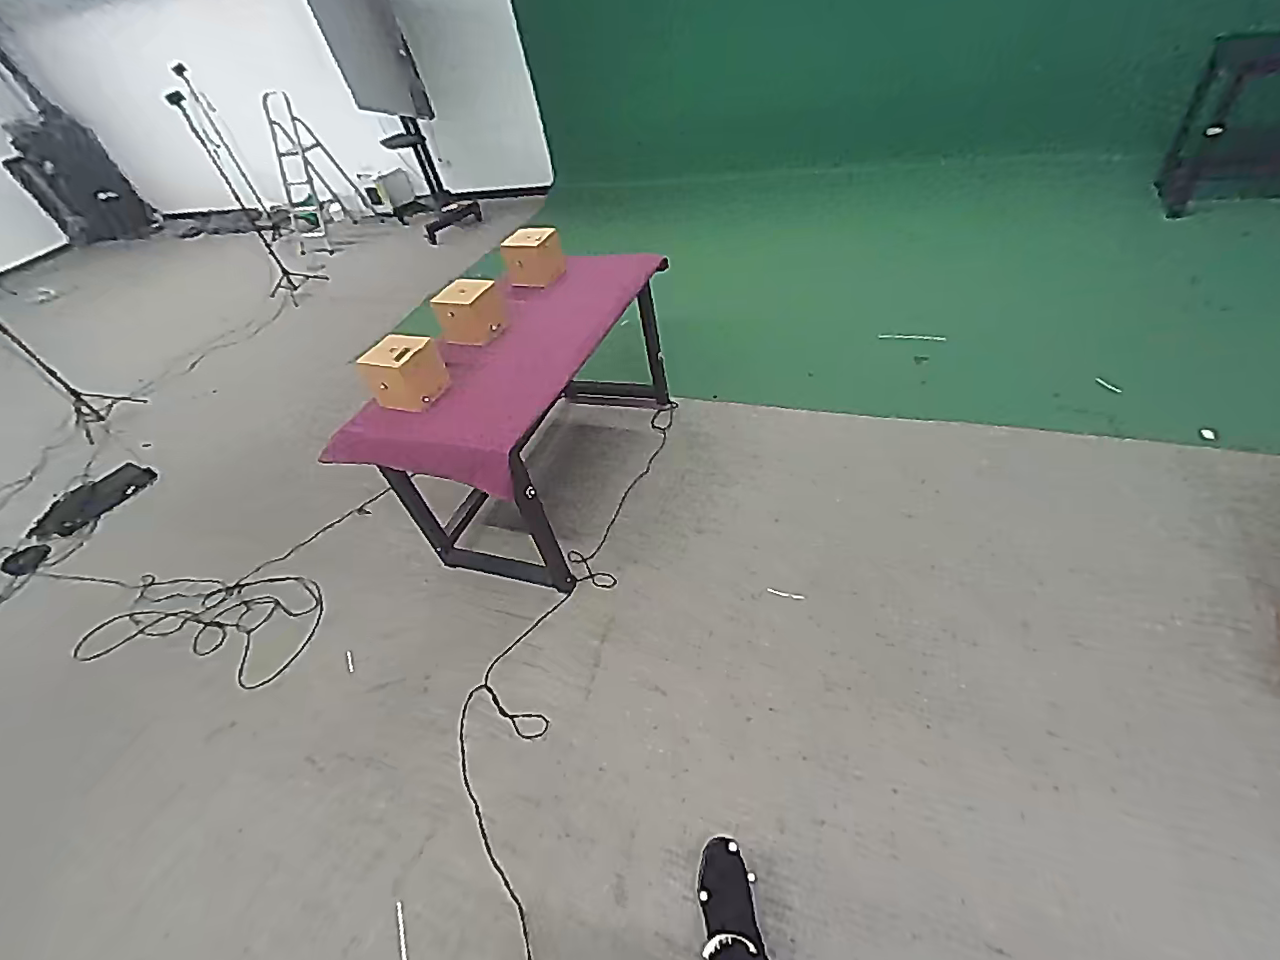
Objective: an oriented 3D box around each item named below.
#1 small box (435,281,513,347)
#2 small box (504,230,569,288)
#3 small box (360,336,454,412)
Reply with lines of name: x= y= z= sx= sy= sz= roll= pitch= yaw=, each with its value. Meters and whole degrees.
small box: x=-0.588 y=-0.591 z=1.931 sx=0.179 sy=0.176 sz=0.168 roll=12 pitch=50 yaw=23
small box: x=-0.414 y=-0.893 z=2.194 sx=0.179 sy=0.176 sz=0.168 roll=10 pitch=49 yaw=23
small box: x=-0.718 y=-0.330 z=1.691 sx=0.179 sy=0.176 sz=0.168 roll=10 pitch=48 yaw=22
